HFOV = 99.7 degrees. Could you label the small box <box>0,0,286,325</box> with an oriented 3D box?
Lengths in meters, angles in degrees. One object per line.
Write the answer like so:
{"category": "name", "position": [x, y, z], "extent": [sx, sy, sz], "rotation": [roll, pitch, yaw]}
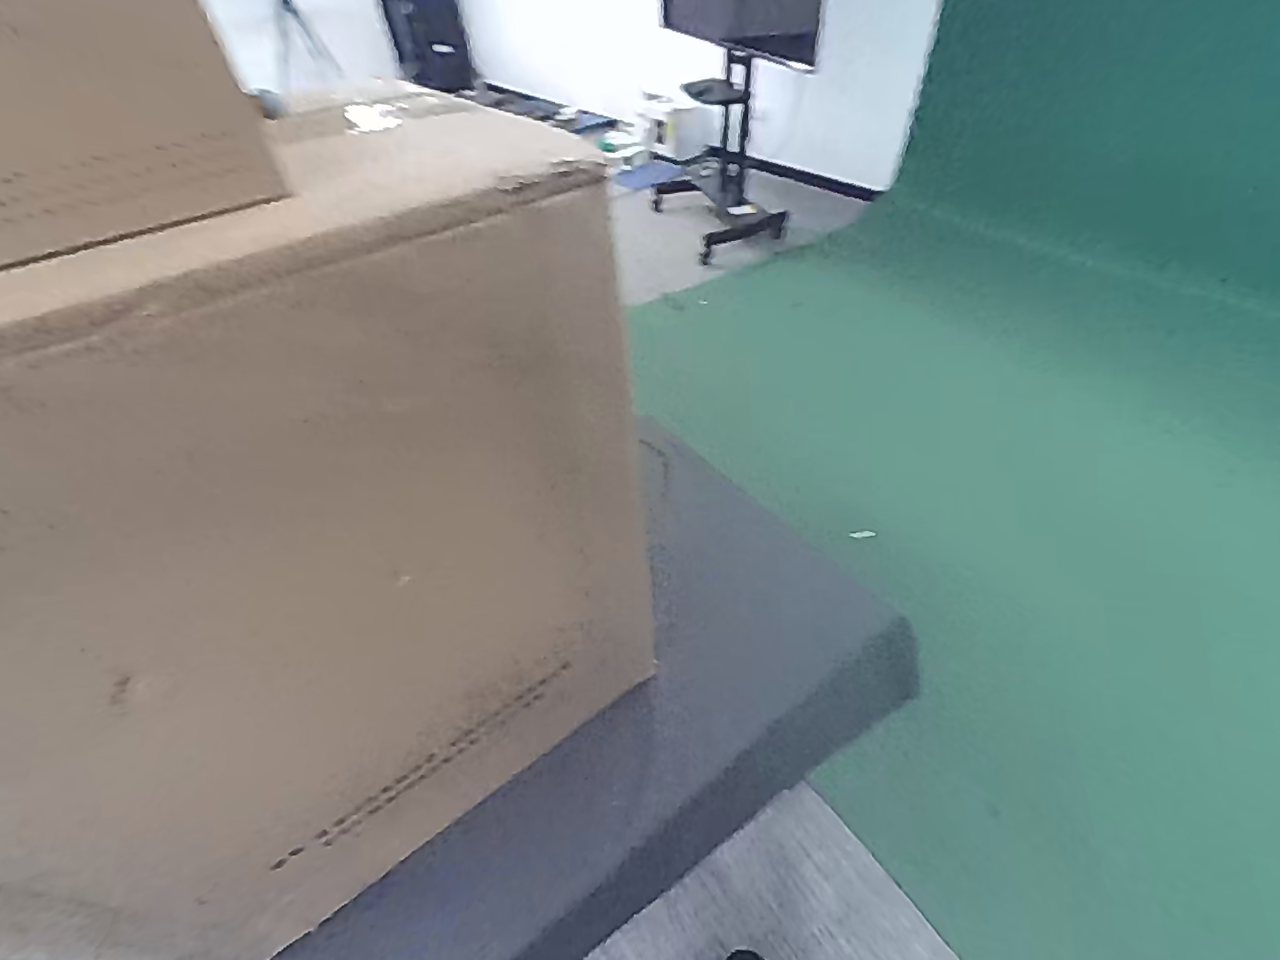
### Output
{"category": "small box", "position": [-0.284, -0.183, 0.228], "extent": [0.179, 0.176, 0.168], "rotation": [-30, 52, -22]}
